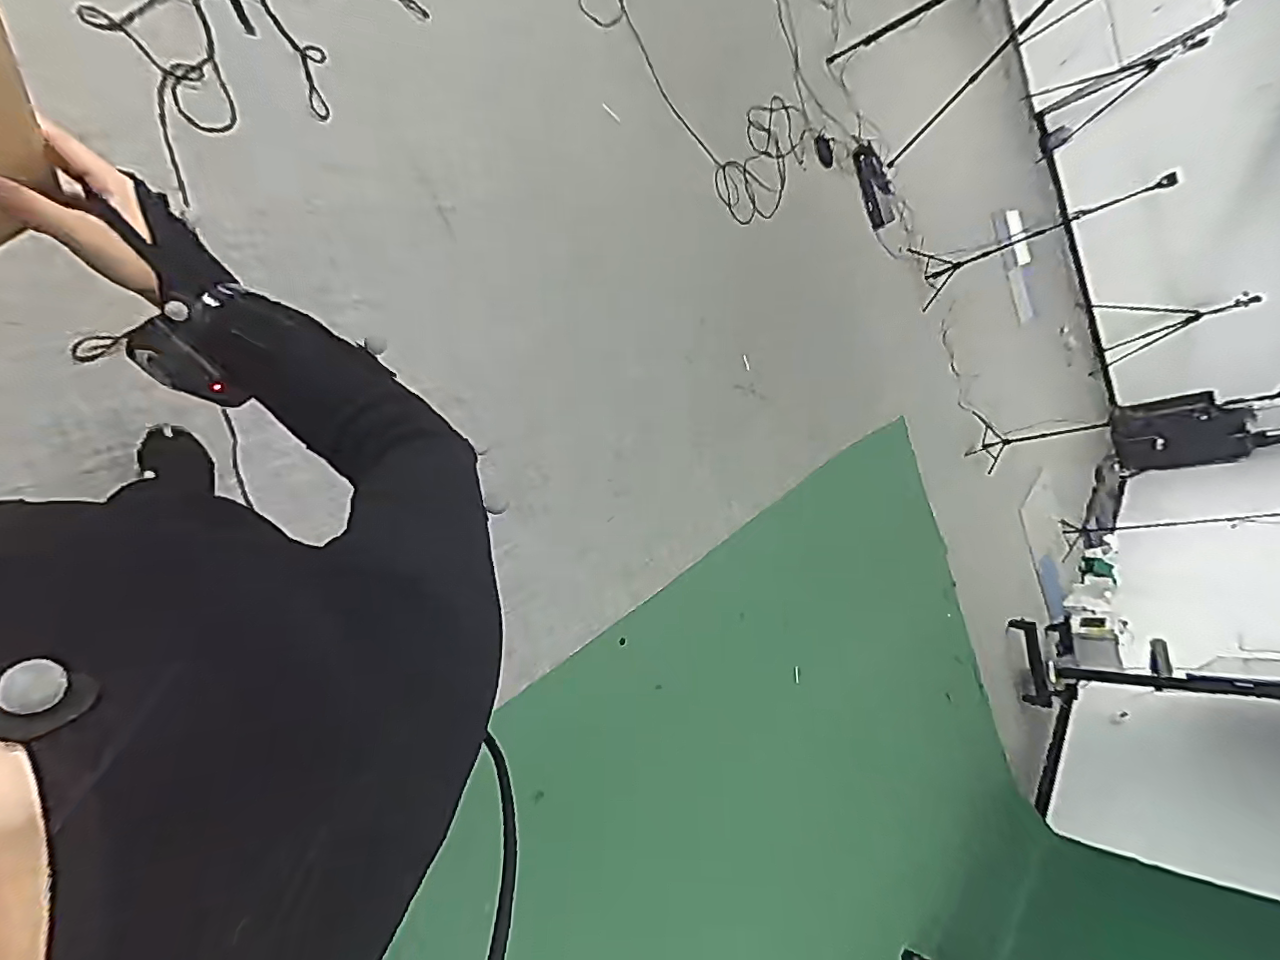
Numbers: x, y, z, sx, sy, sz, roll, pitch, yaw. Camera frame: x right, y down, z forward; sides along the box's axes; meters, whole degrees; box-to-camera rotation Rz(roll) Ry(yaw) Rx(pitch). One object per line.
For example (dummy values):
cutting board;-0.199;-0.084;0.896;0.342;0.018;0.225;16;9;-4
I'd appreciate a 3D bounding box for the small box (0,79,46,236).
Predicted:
small box;-0.447;-0.195;0.247;0.168;0.176;0.179;37;58;-24
